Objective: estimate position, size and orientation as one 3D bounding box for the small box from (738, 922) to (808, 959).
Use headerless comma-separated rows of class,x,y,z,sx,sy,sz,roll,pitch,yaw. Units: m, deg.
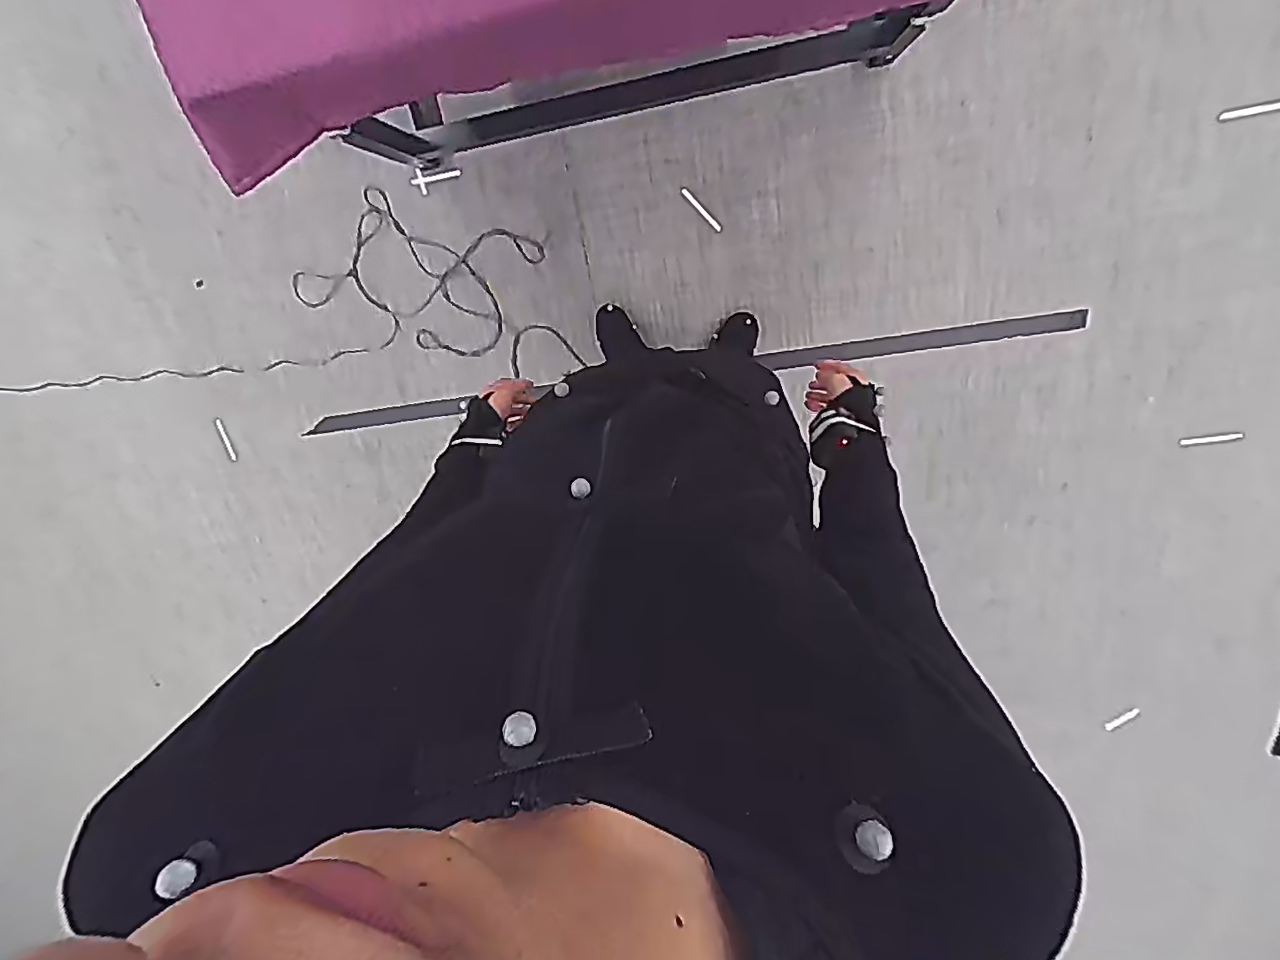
small box,0.359,1.324,1.442,0.179,0.176,0.168,-3,111,7
